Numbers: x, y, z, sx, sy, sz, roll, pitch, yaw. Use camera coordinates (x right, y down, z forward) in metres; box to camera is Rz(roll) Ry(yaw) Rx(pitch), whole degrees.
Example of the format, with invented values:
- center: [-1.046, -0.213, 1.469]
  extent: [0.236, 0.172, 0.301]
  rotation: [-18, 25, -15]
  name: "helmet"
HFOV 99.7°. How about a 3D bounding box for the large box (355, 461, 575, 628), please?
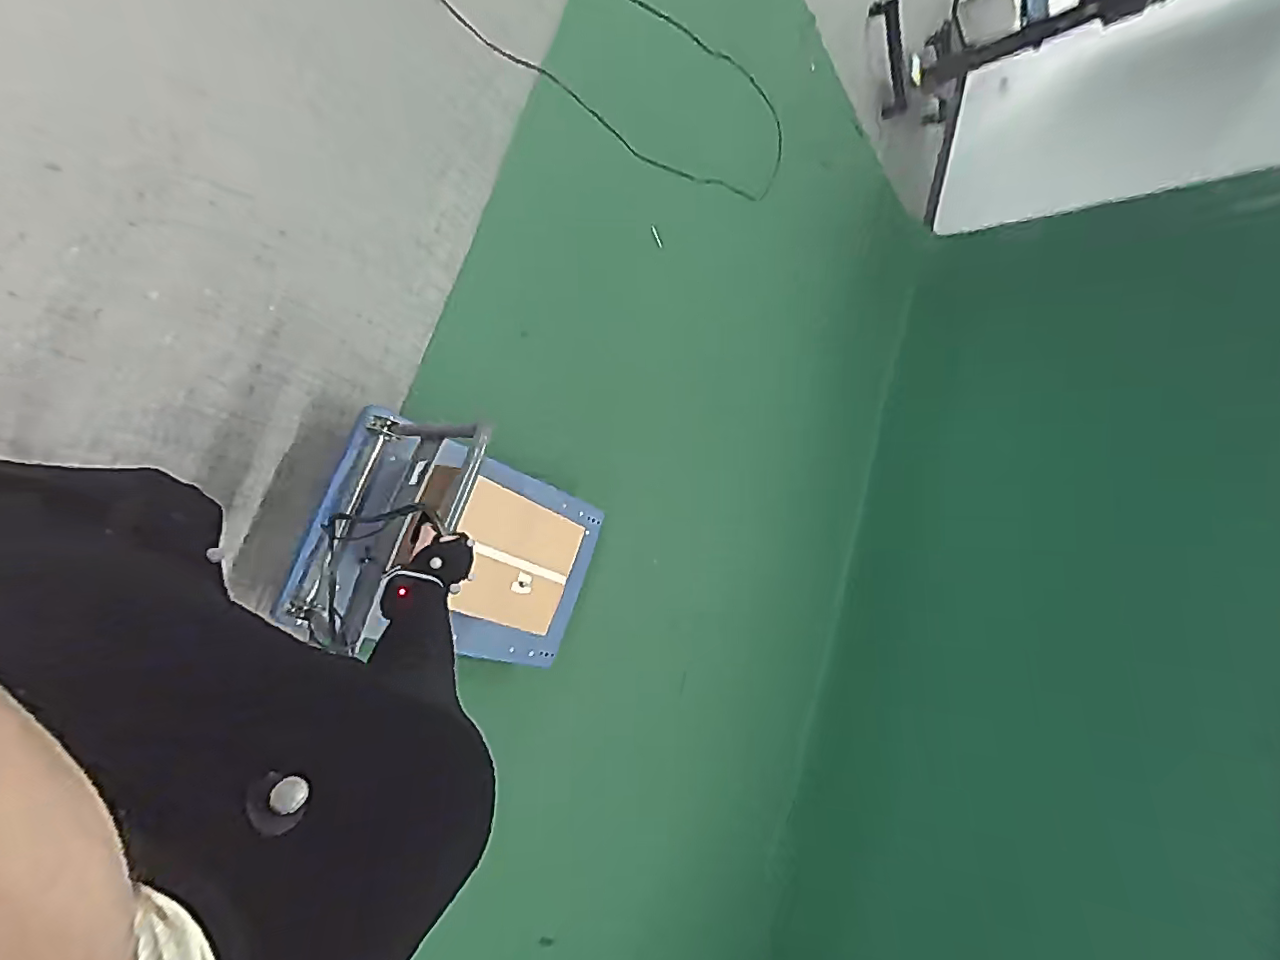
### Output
- center: [-0.459, 0.171, 1.447]
  extent: [0.408, 0.320, 0.320]
  rotation: [34, 72, -43]
  name: "large box"
